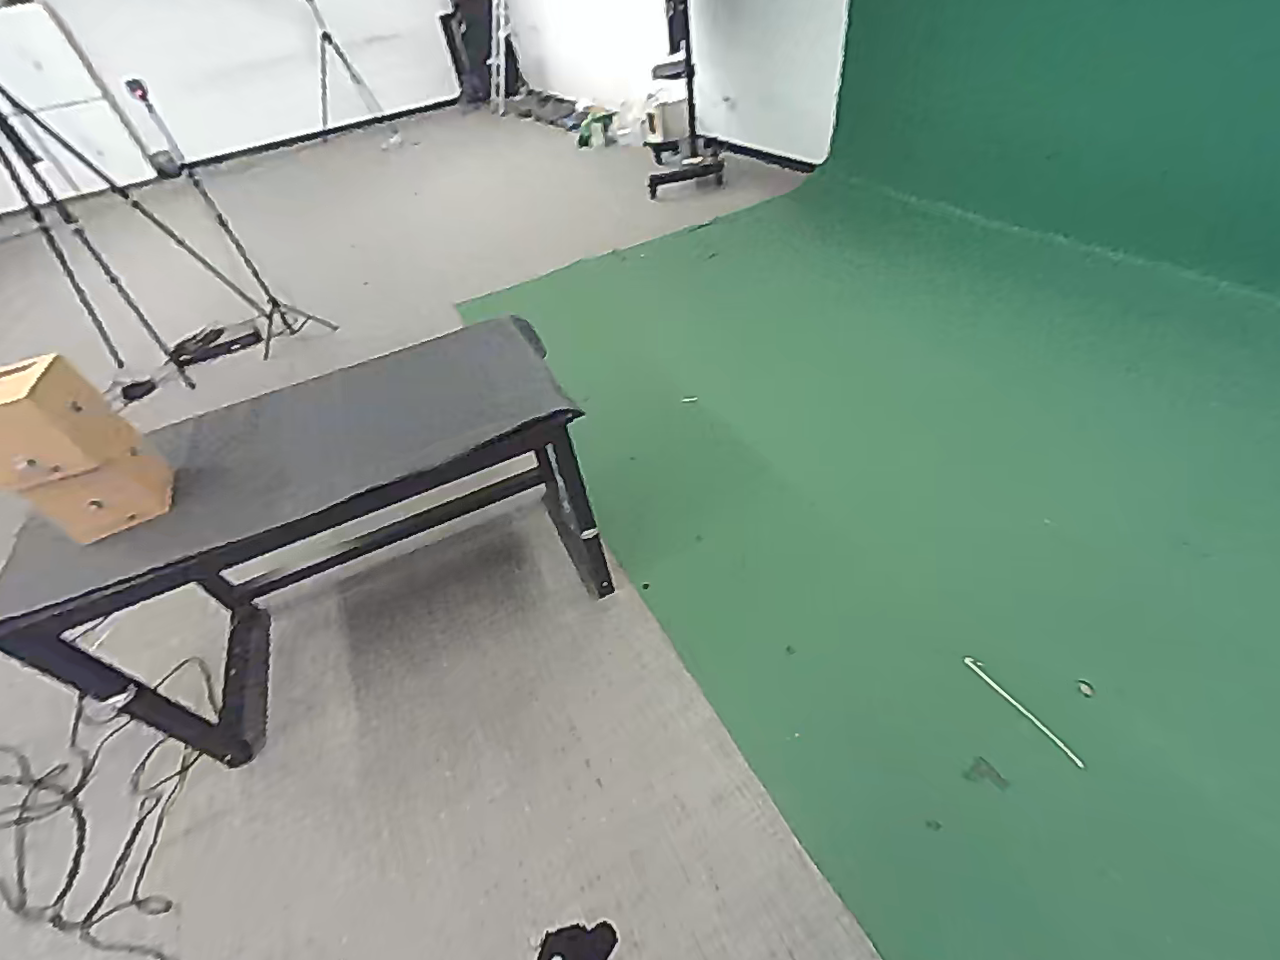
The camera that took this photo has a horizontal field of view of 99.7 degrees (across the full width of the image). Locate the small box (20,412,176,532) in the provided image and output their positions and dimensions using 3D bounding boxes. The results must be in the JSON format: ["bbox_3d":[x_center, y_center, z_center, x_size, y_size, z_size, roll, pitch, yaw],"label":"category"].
[{"bbox_3d":[-1.143,-0.010,1.159,0.168,0.176,0.179,-26,46,-18],"label":"small box"}]

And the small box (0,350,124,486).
[{"bbox_3d":[-1.154,-0.118,1.035,0.168,0.176,0.179,-20,46,-12],"label":"small box"}]
